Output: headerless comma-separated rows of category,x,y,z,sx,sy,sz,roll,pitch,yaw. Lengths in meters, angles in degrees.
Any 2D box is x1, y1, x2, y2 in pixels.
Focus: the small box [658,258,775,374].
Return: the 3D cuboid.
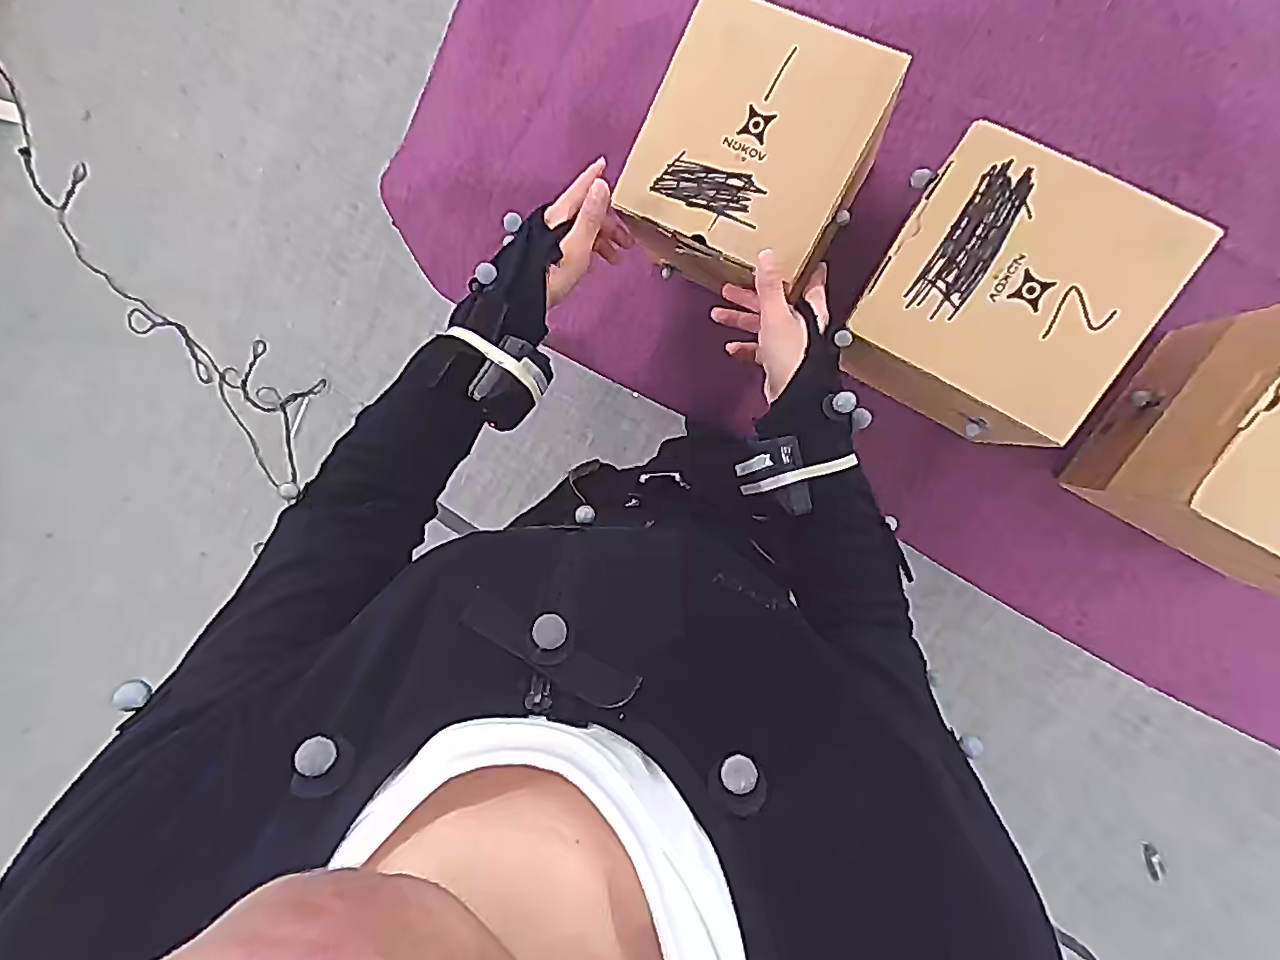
small box,0.163,-0.325,1.106,0.179,0.176,0.168,27,103,10
